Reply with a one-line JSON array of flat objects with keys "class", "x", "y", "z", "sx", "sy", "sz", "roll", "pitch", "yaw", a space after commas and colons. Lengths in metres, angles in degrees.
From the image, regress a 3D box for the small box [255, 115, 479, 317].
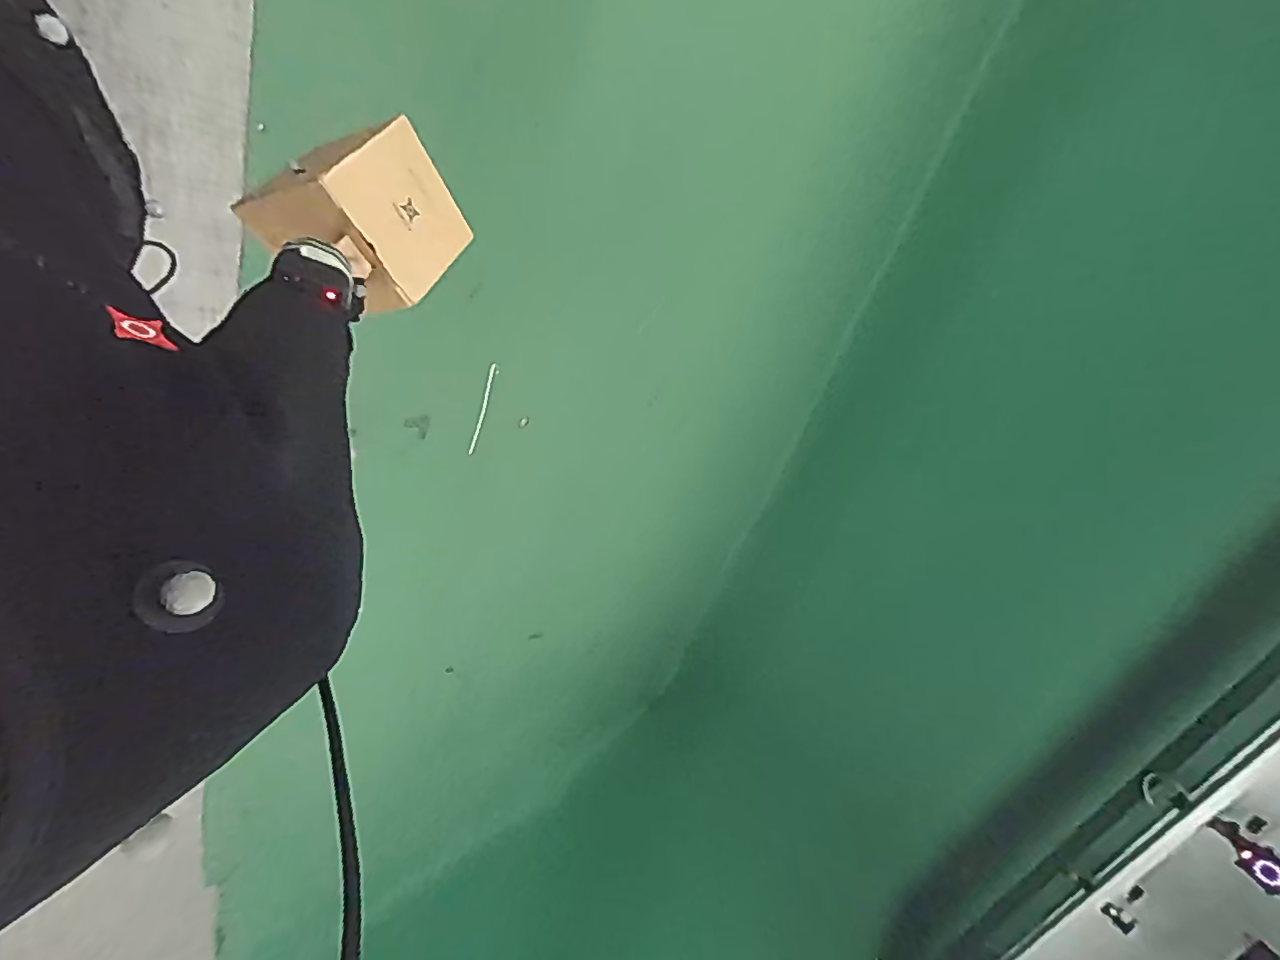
[{"class": "small box", "x": -0.355, "y": -0.336, "z": 0.711, "sx": 0.168, "sy": 0.176, "sz": 0.179, "roll": 63, "pitch": 36, "yaw": -46}]
